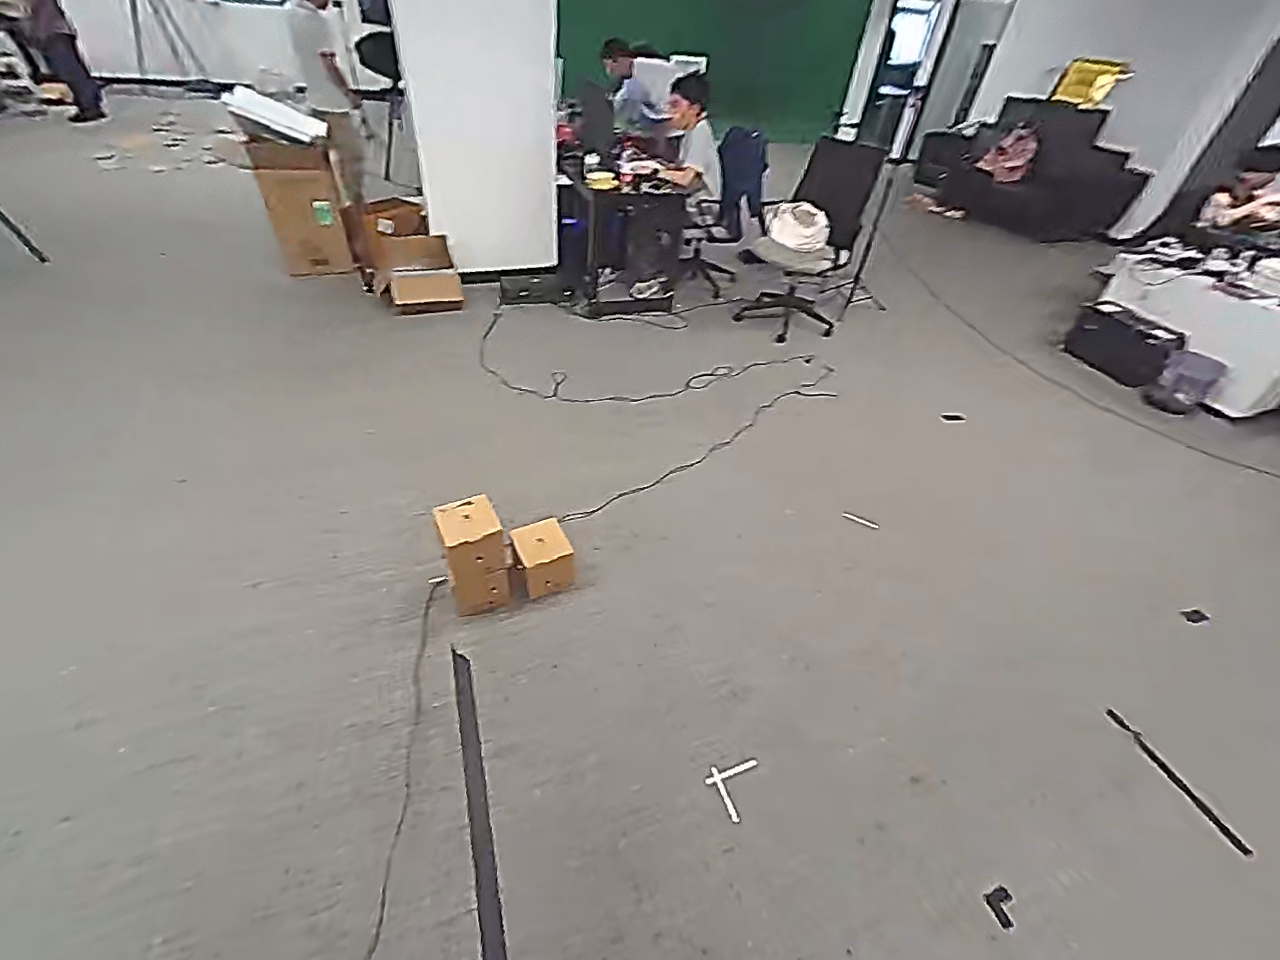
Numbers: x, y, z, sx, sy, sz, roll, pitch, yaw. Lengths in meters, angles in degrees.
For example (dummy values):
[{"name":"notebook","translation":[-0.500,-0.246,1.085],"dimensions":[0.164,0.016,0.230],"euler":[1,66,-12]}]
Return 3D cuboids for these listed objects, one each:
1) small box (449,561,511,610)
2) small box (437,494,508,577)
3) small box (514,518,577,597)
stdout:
[{"name":"small box","translation":[-0.524,0.304,1.767],"dimensions":[0.168,0.176,0.179],"euler":[-13,44,-21]},{"name":"small box","translation":[-0.512,0.177,1.664],"dimensions":[0.168,0.176,0.179],"euler":[-16,46,-25]},{"name":"small box","translation":[-0.323,0.264,1.837],"dimensions":[0.168,0.176,0.179],"euler":[-16,46,-24]}]
